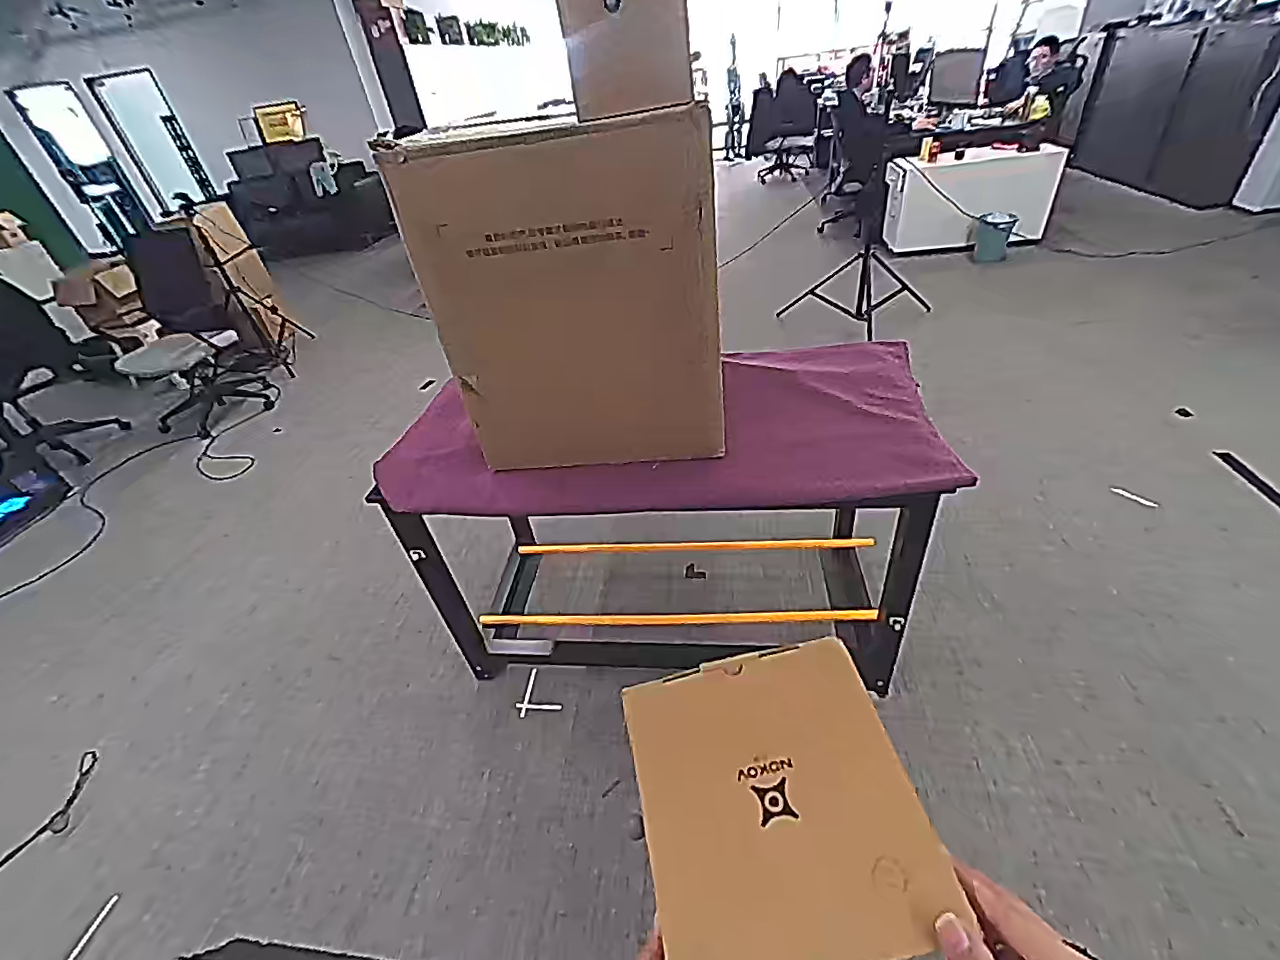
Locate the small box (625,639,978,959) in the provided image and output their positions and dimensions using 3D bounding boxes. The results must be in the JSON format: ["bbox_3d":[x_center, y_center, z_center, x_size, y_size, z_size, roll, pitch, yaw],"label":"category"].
[{"bbox_3d":[0.097,0.249,0.393,0.168,0.176,0.179,-15,46,-1],"label":"small box"}]

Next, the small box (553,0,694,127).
[{"bbox_3d":[-0.017,-0.636,0.797,0.179,0.176,0.168,-5,38,7],"label":"small box"}]
